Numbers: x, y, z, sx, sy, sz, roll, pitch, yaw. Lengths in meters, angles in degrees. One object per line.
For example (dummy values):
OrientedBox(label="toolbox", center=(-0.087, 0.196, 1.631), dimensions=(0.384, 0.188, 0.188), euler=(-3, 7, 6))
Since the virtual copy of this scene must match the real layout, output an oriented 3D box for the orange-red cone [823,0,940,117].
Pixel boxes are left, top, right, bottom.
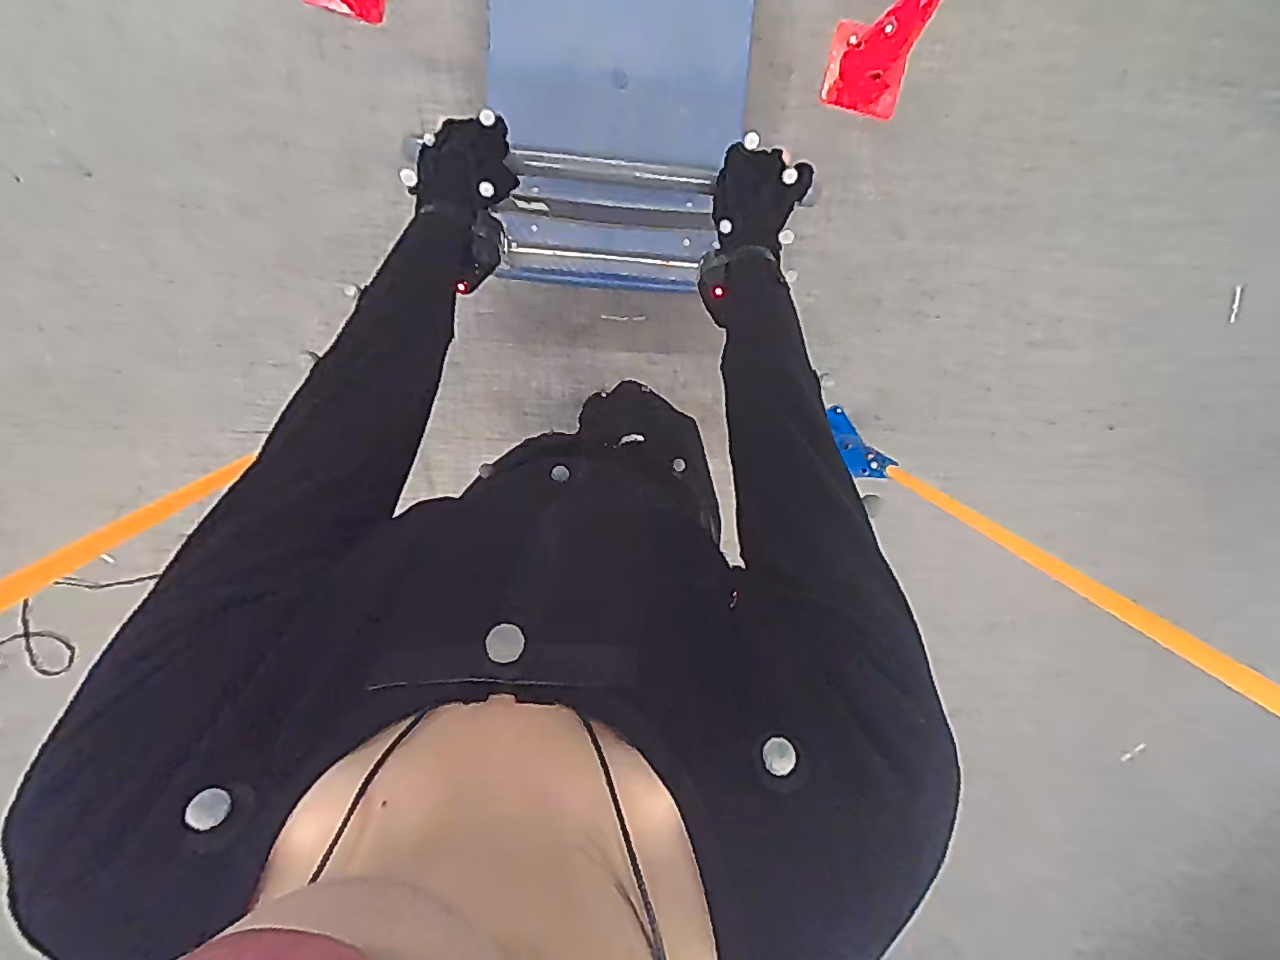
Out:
OrientedBox(label="orange-red cone", center=(0.589, -1.022, 1.210), dimensions=(0.198, 0.360, 0.199), euler=(13, 99, -5))
